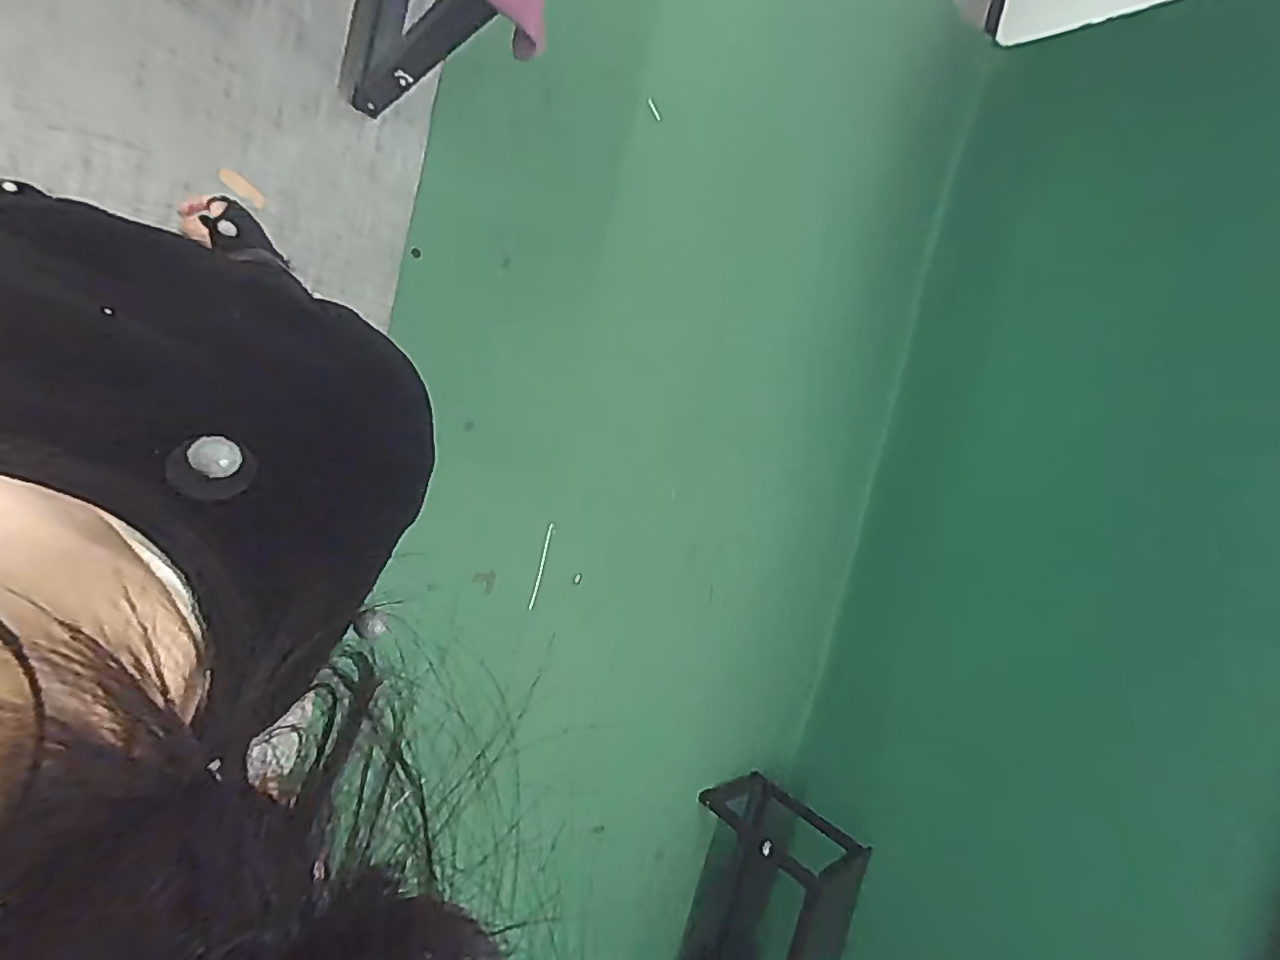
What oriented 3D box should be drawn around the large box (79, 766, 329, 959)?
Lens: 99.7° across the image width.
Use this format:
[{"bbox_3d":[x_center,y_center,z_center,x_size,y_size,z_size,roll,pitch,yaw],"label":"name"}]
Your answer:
[{"bbox_3d":[-1.013,0.979,1.281,0.408,0.320,0.320,-9,110,-43],"label":"large box"}]
